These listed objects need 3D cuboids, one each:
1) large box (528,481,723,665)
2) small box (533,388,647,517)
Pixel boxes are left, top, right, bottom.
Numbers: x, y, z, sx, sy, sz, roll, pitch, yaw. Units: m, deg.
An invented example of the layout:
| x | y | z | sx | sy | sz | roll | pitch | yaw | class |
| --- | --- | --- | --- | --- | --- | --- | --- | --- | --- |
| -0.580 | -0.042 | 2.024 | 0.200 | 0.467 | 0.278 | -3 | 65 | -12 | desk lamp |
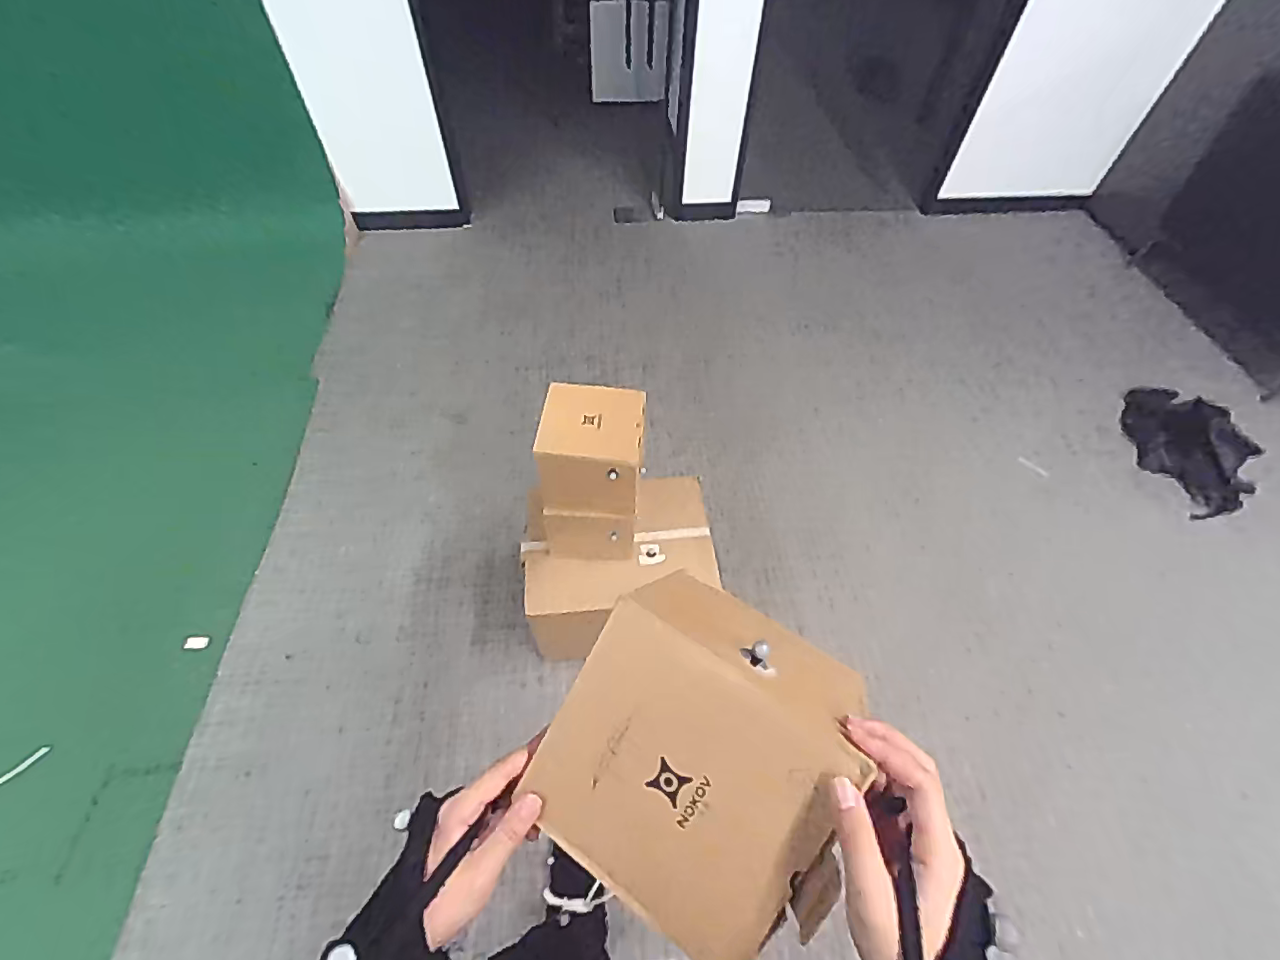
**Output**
| x | y | z | sx | sy | sz | roll | pitch | yaw | class |
| --- | --- | --- | --- | --- | --- | --- | --- | --- | --- |
| -0.050 | 0.227 | 1.297 | 0.408 | 0.320 | 0.320 | -4 | 55 | -6 | large box |
| -0.085 | -0.046 | 0.991 | 0.179 | 0.176 | 0.168 | 6 | 53 | 1 | small box |
